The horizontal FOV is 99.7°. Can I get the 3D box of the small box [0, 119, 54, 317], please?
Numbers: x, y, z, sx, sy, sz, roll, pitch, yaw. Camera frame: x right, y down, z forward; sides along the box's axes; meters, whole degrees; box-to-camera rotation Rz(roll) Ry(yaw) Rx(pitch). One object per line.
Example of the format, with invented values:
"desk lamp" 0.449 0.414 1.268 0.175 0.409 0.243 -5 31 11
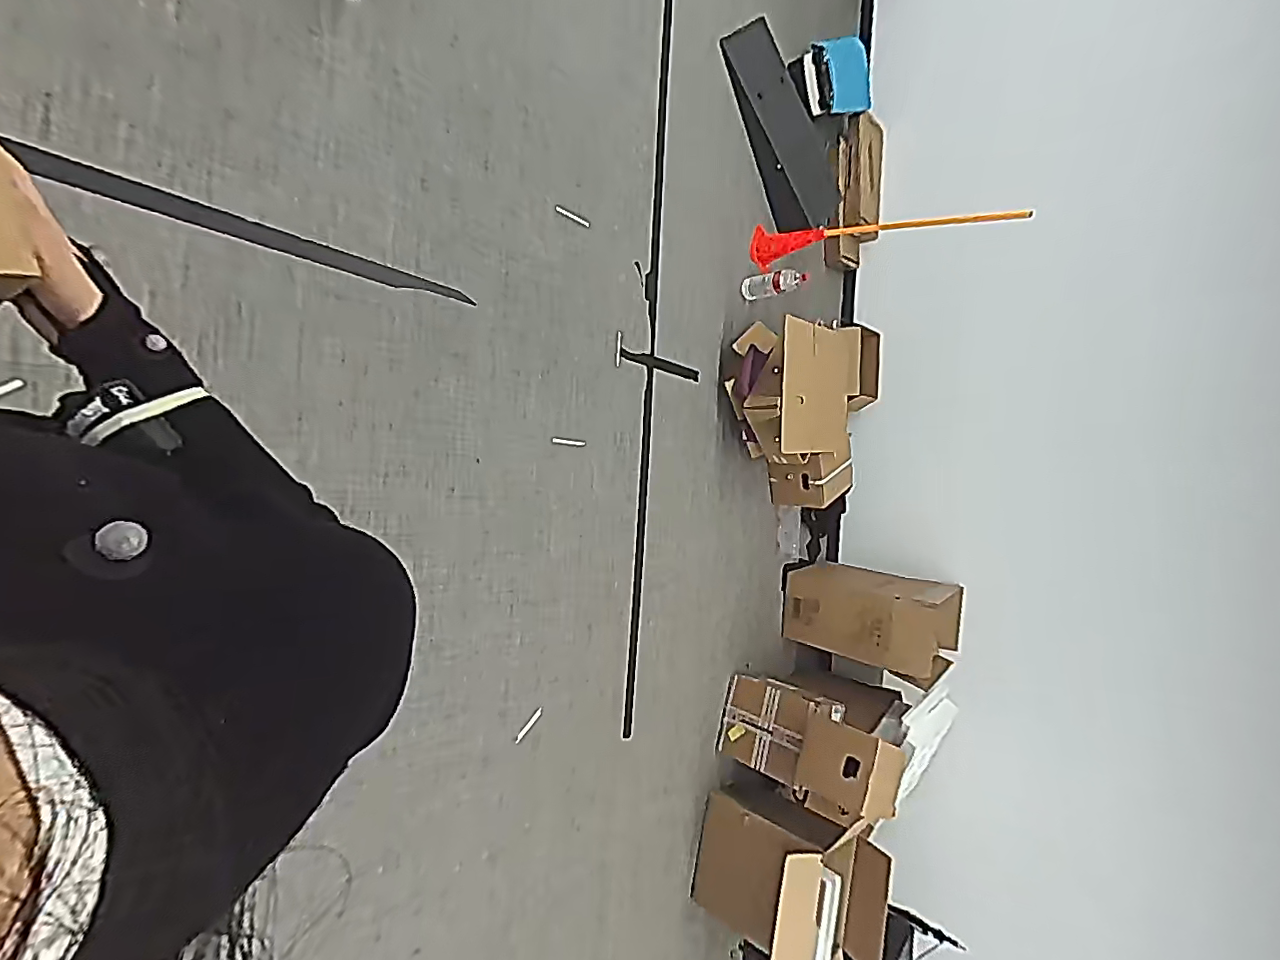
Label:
"small box" -0.467 -0.176 0.276 0.168 0.176 0.179 -27 112 -57
